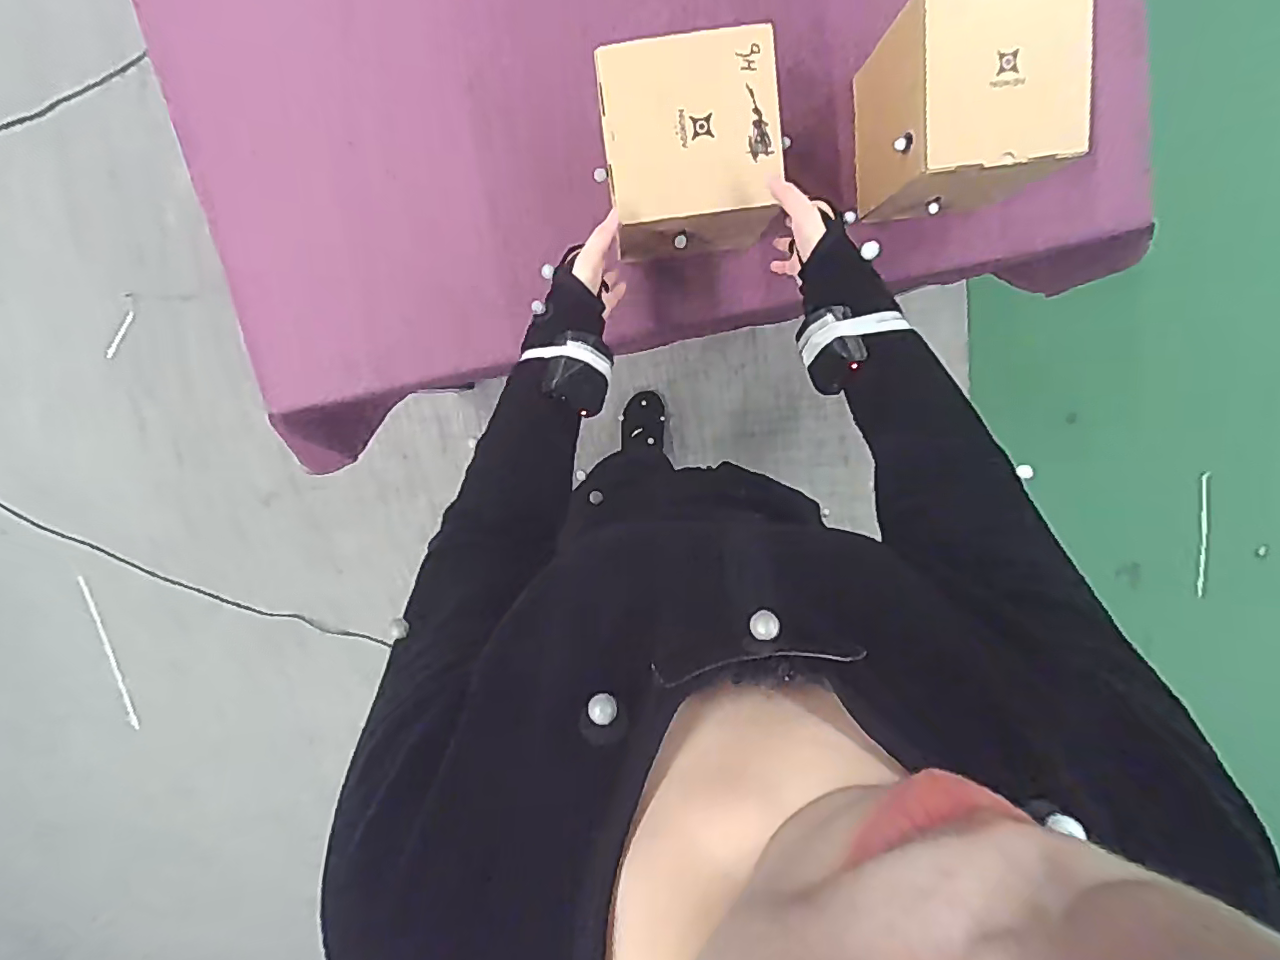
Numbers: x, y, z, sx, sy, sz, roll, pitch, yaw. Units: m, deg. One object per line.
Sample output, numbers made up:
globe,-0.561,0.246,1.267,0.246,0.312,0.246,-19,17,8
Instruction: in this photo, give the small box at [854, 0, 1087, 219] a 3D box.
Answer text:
small box,0.356,-0.420,0.613,0.168,0.176,0.179,-6,100,0

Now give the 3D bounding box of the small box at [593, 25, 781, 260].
small box,0.050,-0.363,0.617,0.179,0.176,0.168,-7,99,1
